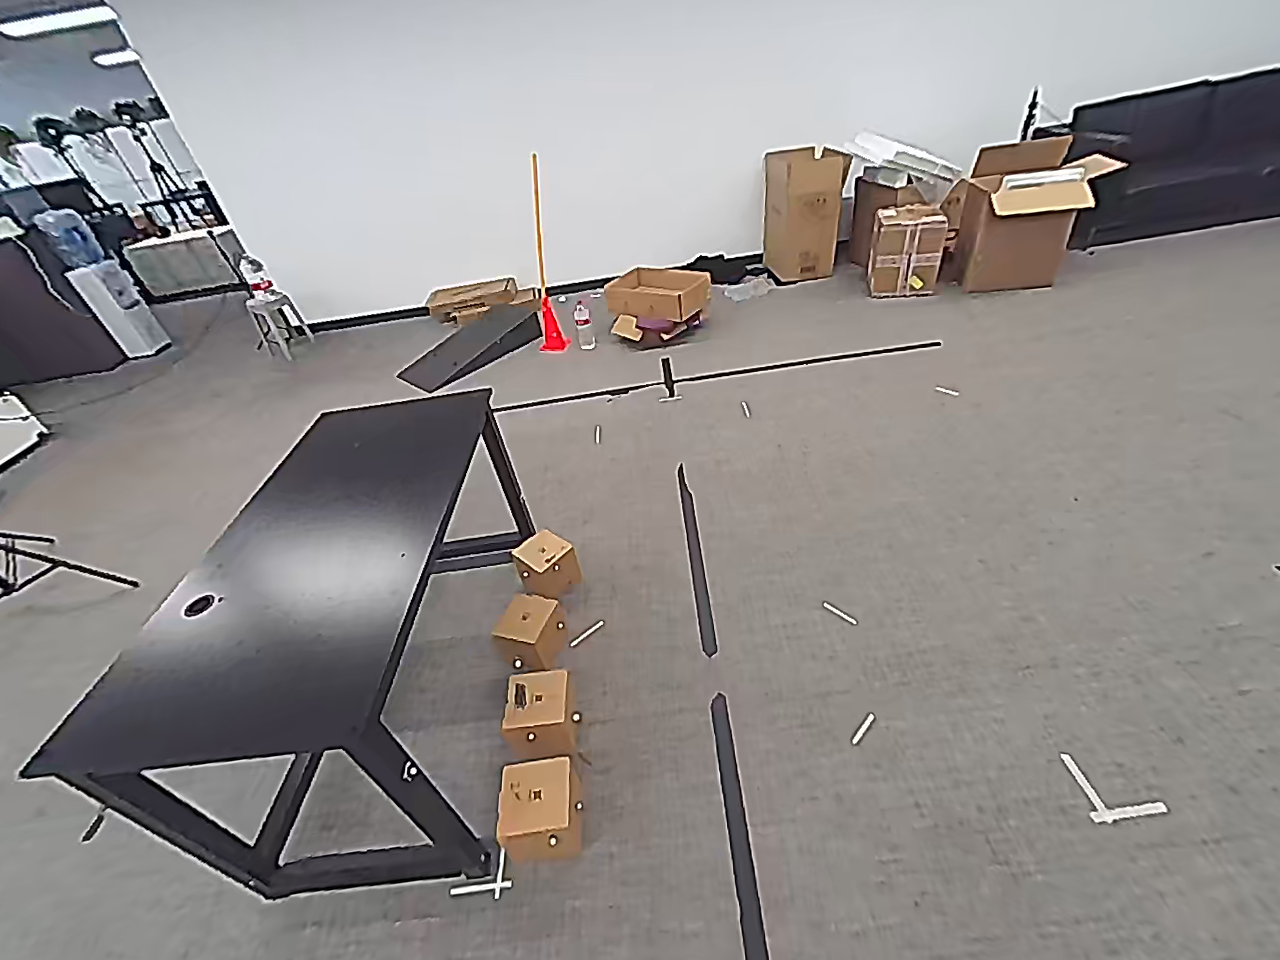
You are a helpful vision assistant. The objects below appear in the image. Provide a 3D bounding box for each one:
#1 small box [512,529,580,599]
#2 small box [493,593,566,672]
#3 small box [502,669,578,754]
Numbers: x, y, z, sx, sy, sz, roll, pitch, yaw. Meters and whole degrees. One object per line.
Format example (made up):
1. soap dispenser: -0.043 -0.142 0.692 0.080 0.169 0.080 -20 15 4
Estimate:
1. small box: -0.354 0.323 2.058 0.179 0.176 0.168 23 49 35
2. small box: -0.363 0.513 1.822 0.168 0.176 0.179 5 41 20
3. small box: -0.286 0.683 1.585 0.179 0.176 0.168 -7 38 1
